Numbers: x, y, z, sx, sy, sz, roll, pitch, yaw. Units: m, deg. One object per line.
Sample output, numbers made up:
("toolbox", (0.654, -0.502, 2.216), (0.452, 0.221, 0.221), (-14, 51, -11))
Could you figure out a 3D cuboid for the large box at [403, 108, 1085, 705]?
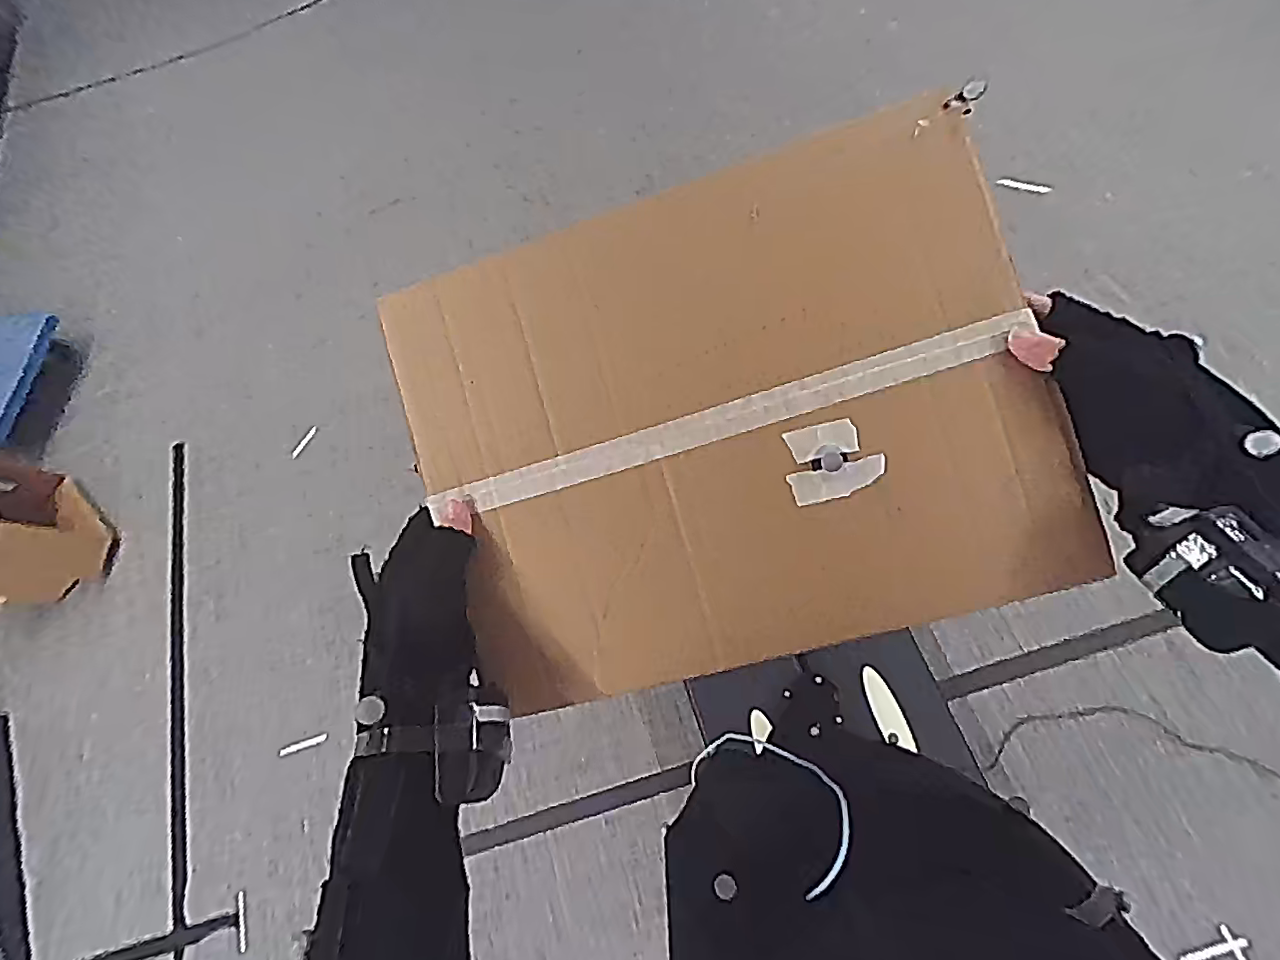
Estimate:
("large box", (0.070, -0.037, 0.517), (0.408, 0.320, 0.320), (-17, 89, 8))
